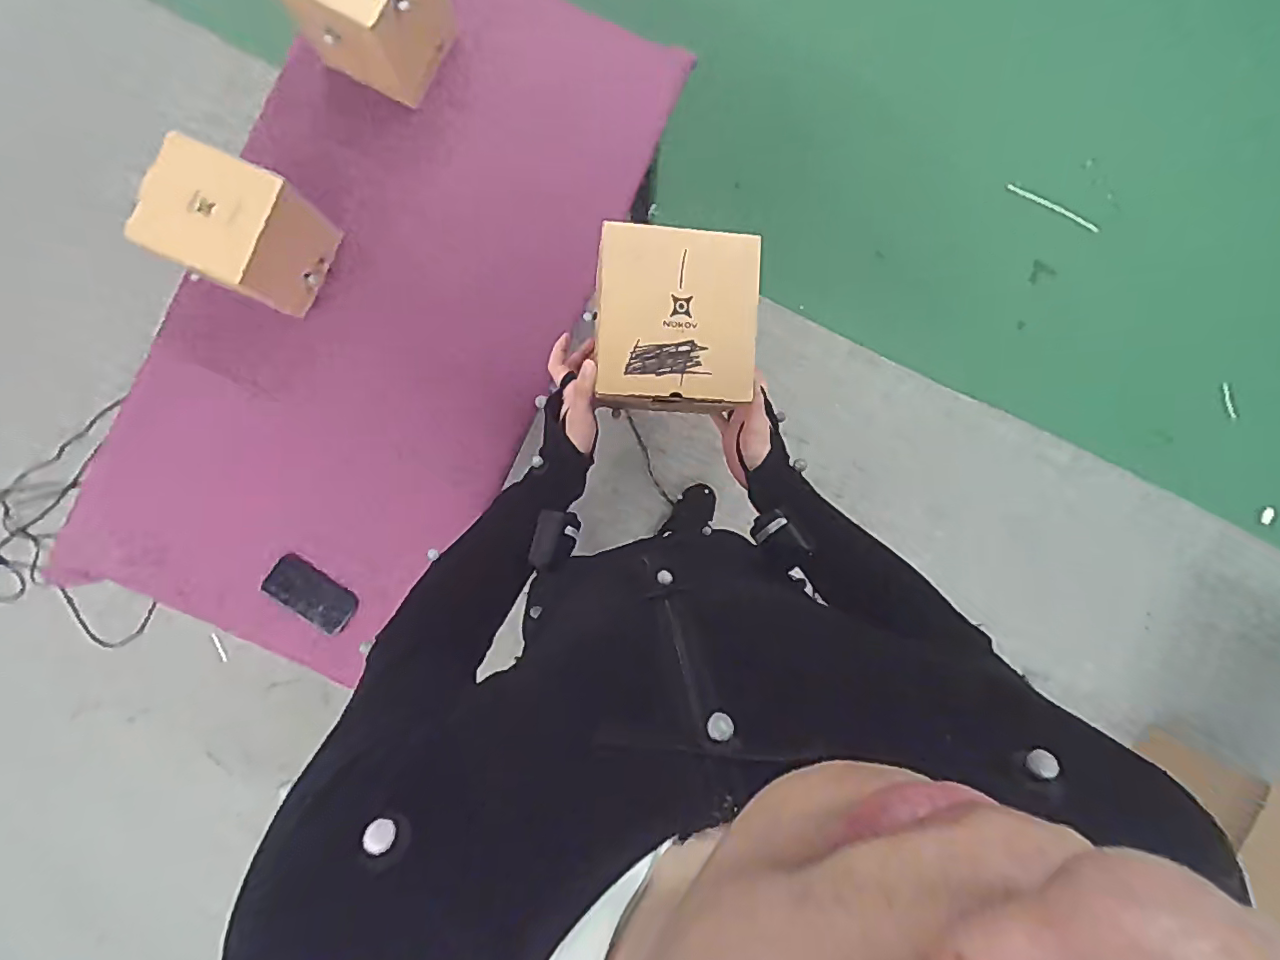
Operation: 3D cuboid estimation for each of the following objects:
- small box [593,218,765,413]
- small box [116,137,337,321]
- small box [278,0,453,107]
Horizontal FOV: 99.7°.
[{"bbox_3d":[0.032,-0.171,0.619,0.168,0.176,0.179,3,93,-7],"label":"small box"},{"bbox_3d":[-0.613,-0.367,0.826,0.179,0.176,0.168,23,89,-1],"label":"small box"},{"bbox_3d":[-0.426,-0.732,0.838,0.179,0.176,0.168,27,89,0],"label":"small box"}]
